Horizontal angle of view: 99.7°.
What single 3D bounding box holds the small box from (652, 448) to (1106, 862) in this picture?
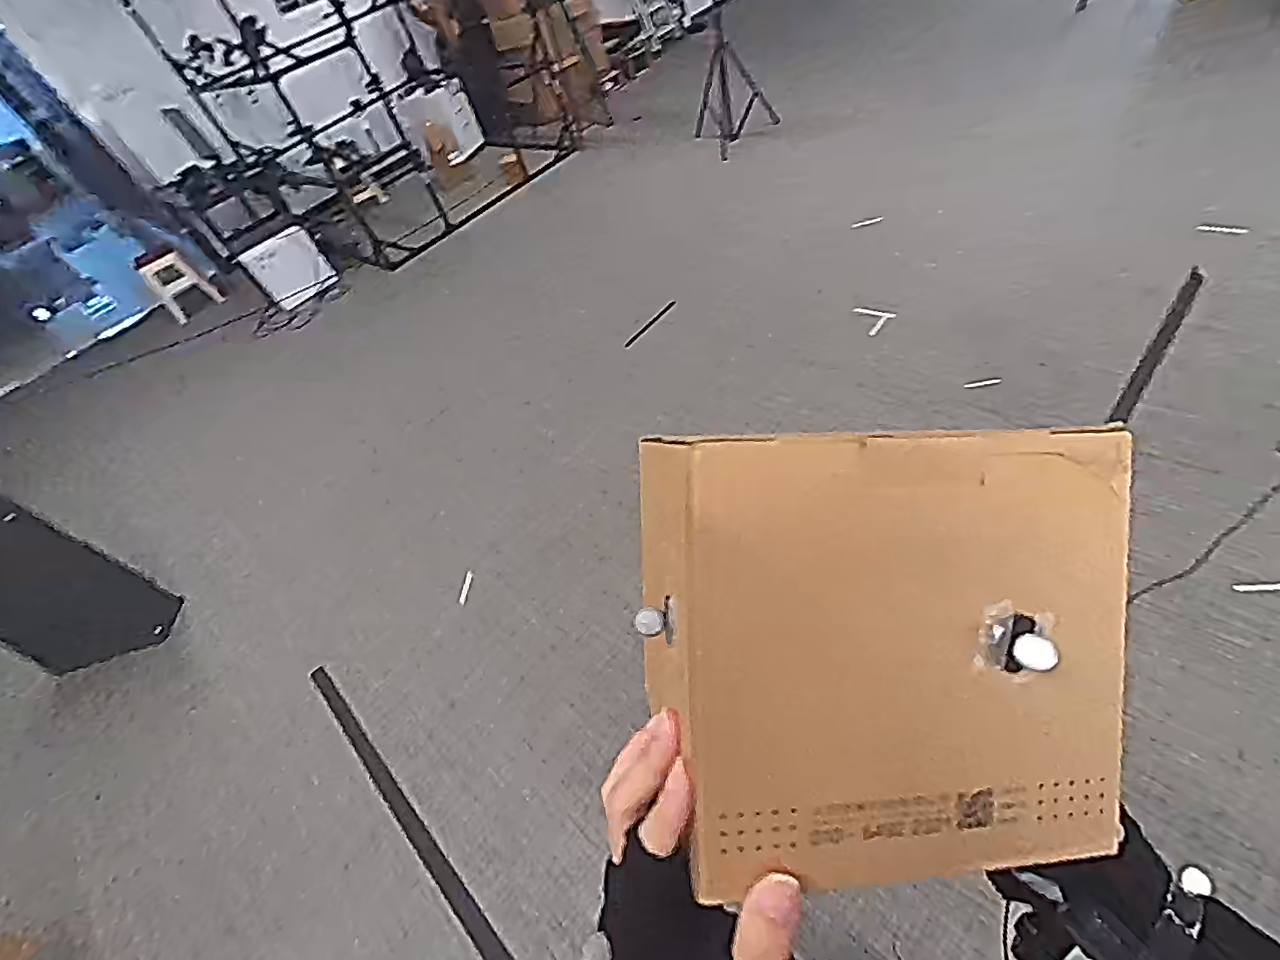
[{"bbox_3d":[0.100,0.072,0.294,0.168,0.176,0.179,-1,4,-6],"label":"small box"}]
